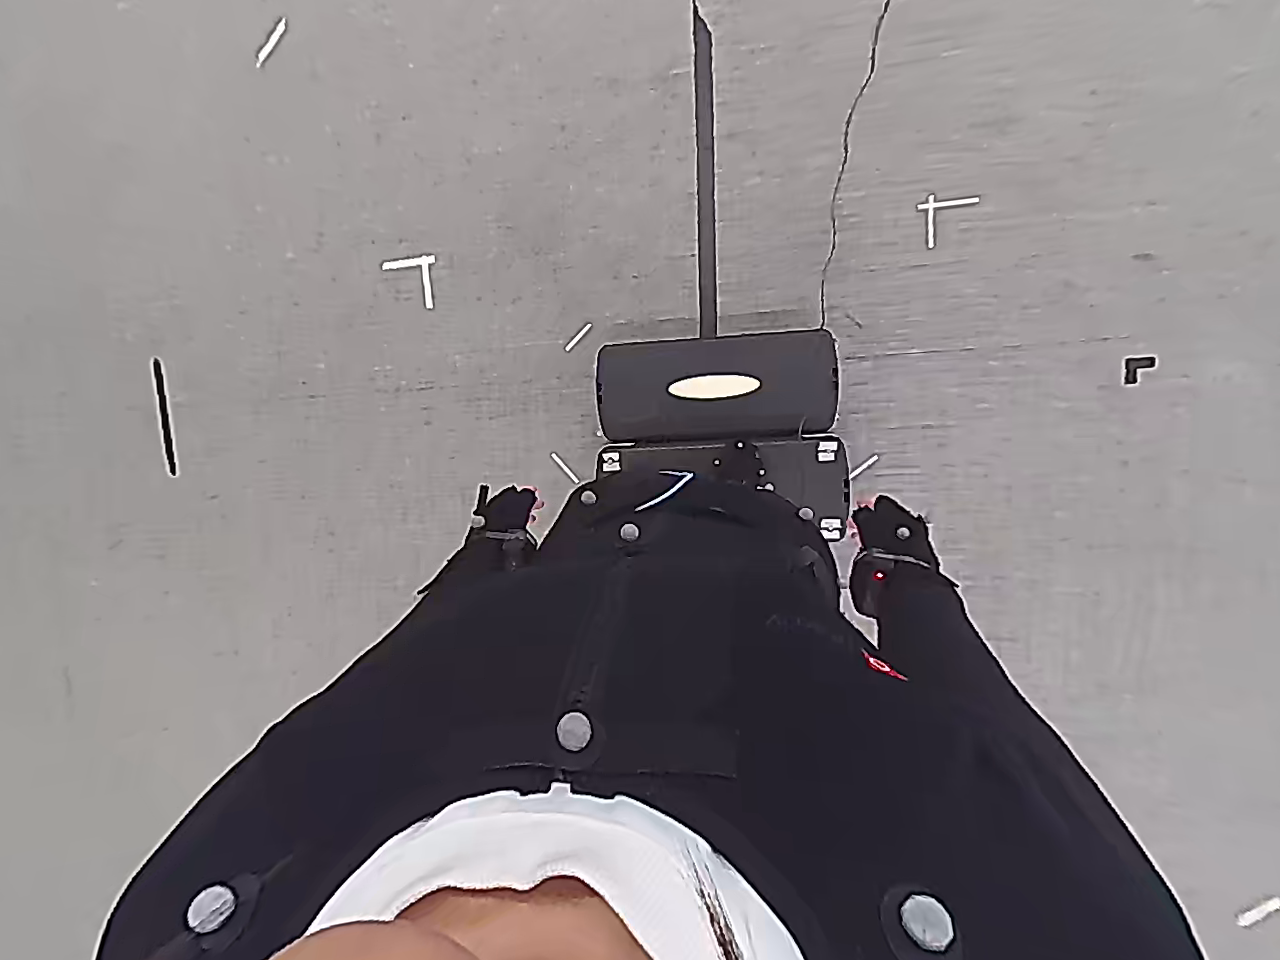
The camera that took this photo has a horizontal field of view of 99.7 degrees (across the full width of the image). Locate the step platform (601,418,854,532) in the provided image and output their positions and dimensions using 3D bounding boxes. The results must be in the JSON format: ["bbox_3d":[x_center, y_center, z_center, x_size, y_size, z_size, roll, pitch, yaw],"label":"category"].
[{"bbox_3d":[0.232,-0.012,1.511,0.684,0.204,0.286,-3,95,9],"label":"step platform"}]
